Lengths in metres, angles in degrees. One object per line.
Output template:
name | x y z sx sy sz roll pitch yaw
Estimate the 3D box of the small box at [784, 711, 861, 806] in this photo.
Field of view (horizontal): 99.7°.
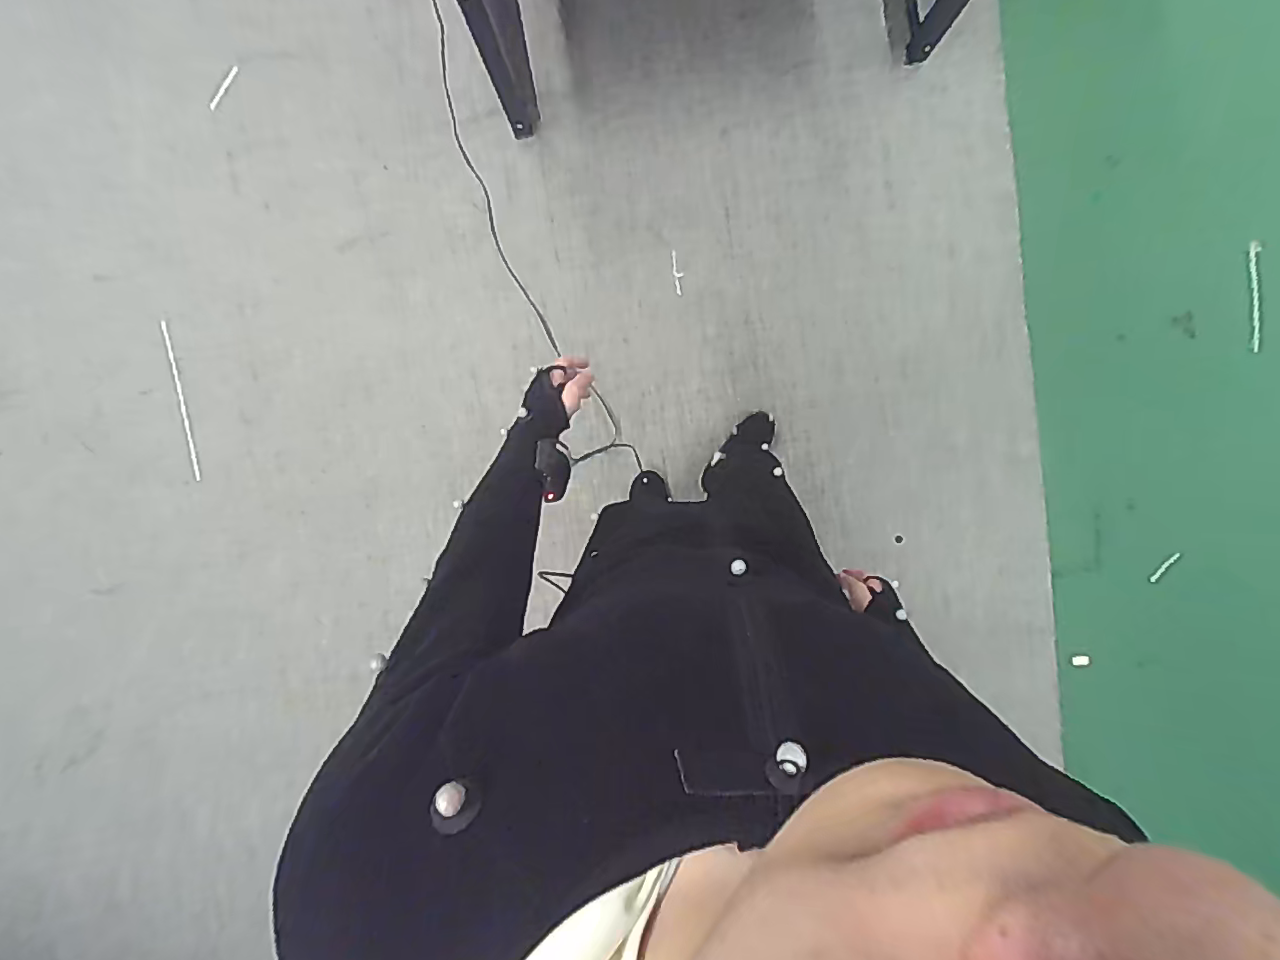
small box | 0.511 0.782 1.527 0.168 0.176 0.179 -5 94 1
